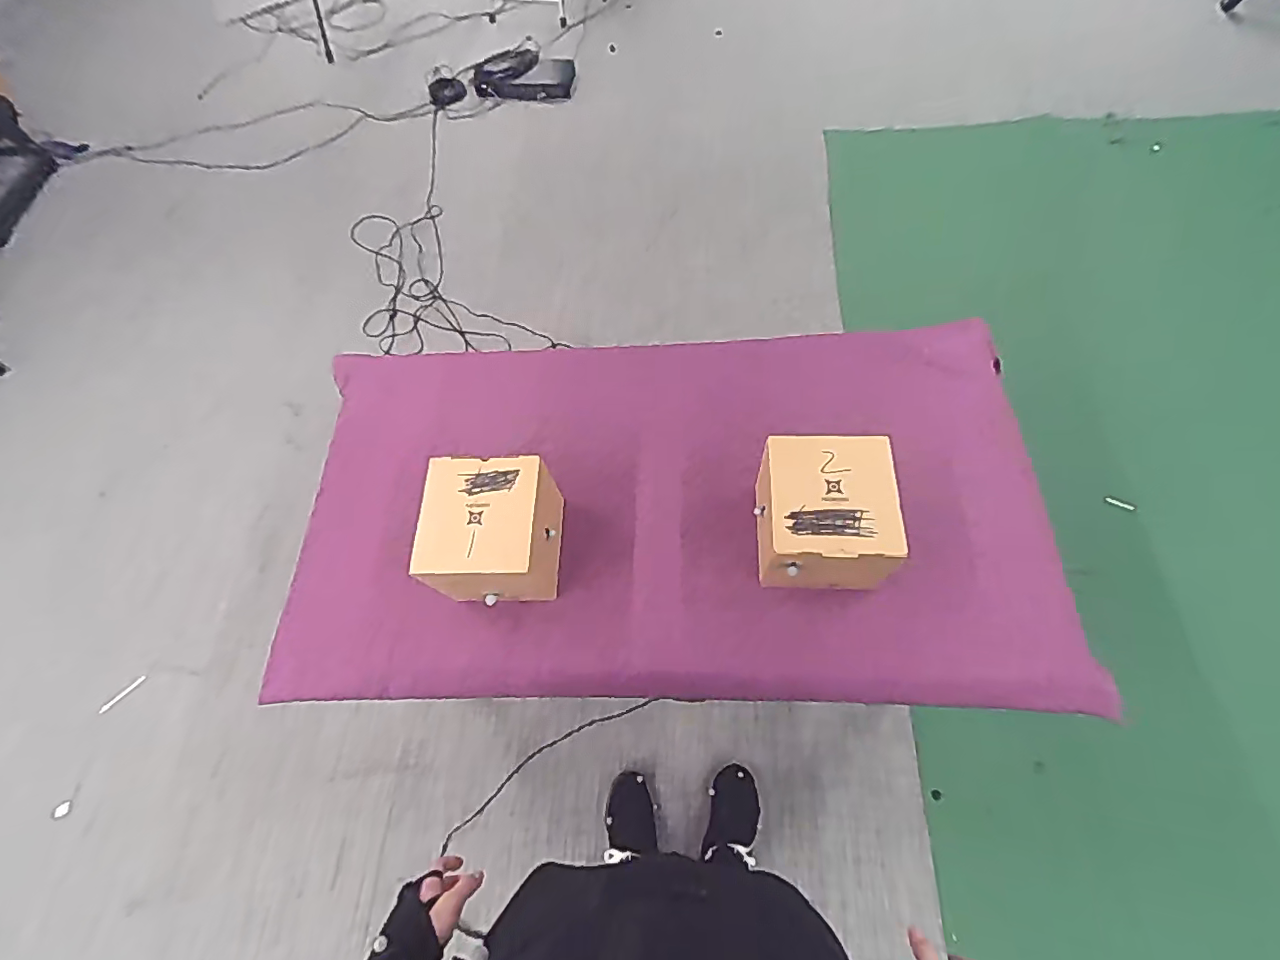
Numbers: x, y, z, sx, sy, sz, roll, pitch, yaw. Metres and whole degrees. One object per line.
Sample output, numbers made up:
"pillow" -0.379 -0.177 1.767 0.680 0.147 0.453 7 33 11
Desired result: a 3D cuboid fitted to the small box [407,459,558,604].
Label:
"small box" -0.225 0.083 0.824 0.168 0.176 0.179 -1 65 4
